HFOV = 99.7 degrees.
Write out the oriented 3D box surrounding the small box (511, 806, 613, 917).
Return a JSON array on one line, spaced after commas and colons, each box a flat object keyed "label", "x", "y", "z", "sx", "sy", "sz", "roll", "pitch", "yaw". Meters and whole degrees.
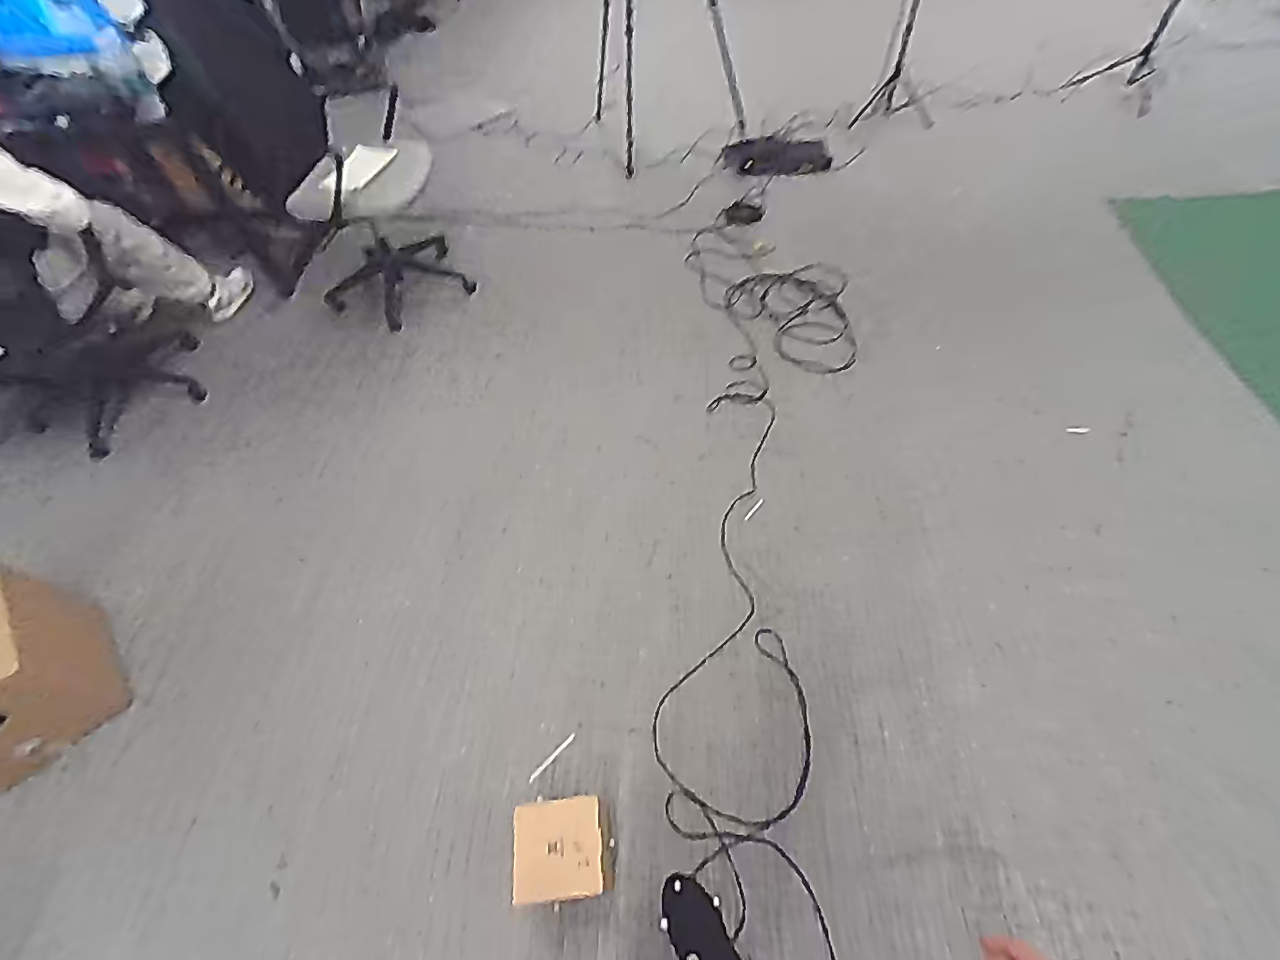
[{"label": "small box", "x": -0.157, "y": 0.787, "z": 1.115, "sx": 0.179, "sy": 0.176, "sz": 0.168, "roll": -8, "pitch": 54, "yaw": -1}]
